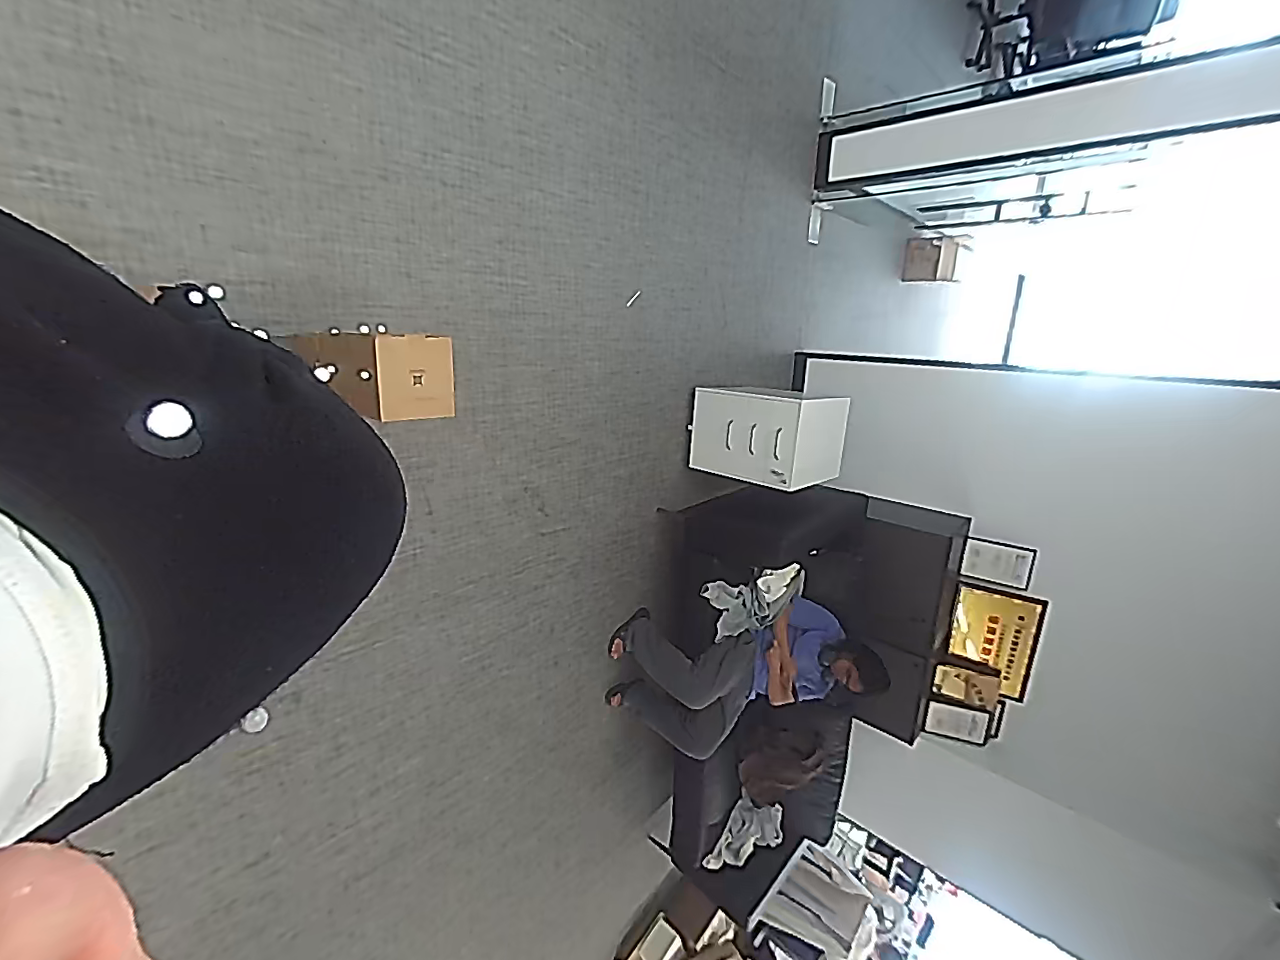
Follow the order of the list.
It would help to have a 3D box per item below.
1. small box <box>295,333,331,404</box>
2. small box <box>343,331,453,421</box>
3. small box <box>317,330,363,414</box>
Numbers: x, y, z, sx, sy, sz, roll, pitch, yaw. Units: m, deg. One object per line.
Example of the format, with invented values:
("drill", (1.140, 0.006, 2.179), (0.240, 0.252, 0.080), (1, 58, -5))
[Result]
("small box", (-0.771, -0.291, 1.399), (0.179, 0.176, 0.168), (-14, 113, -47))
("small box", (-0.530, -0.233, 1.186), (0.168, 0.176, 0.179), (-15, 114, -46))
("small box", (-0.648, -0.262, 1.292), (0.168, 0.176, 0.179), (-16, 113, -47))
